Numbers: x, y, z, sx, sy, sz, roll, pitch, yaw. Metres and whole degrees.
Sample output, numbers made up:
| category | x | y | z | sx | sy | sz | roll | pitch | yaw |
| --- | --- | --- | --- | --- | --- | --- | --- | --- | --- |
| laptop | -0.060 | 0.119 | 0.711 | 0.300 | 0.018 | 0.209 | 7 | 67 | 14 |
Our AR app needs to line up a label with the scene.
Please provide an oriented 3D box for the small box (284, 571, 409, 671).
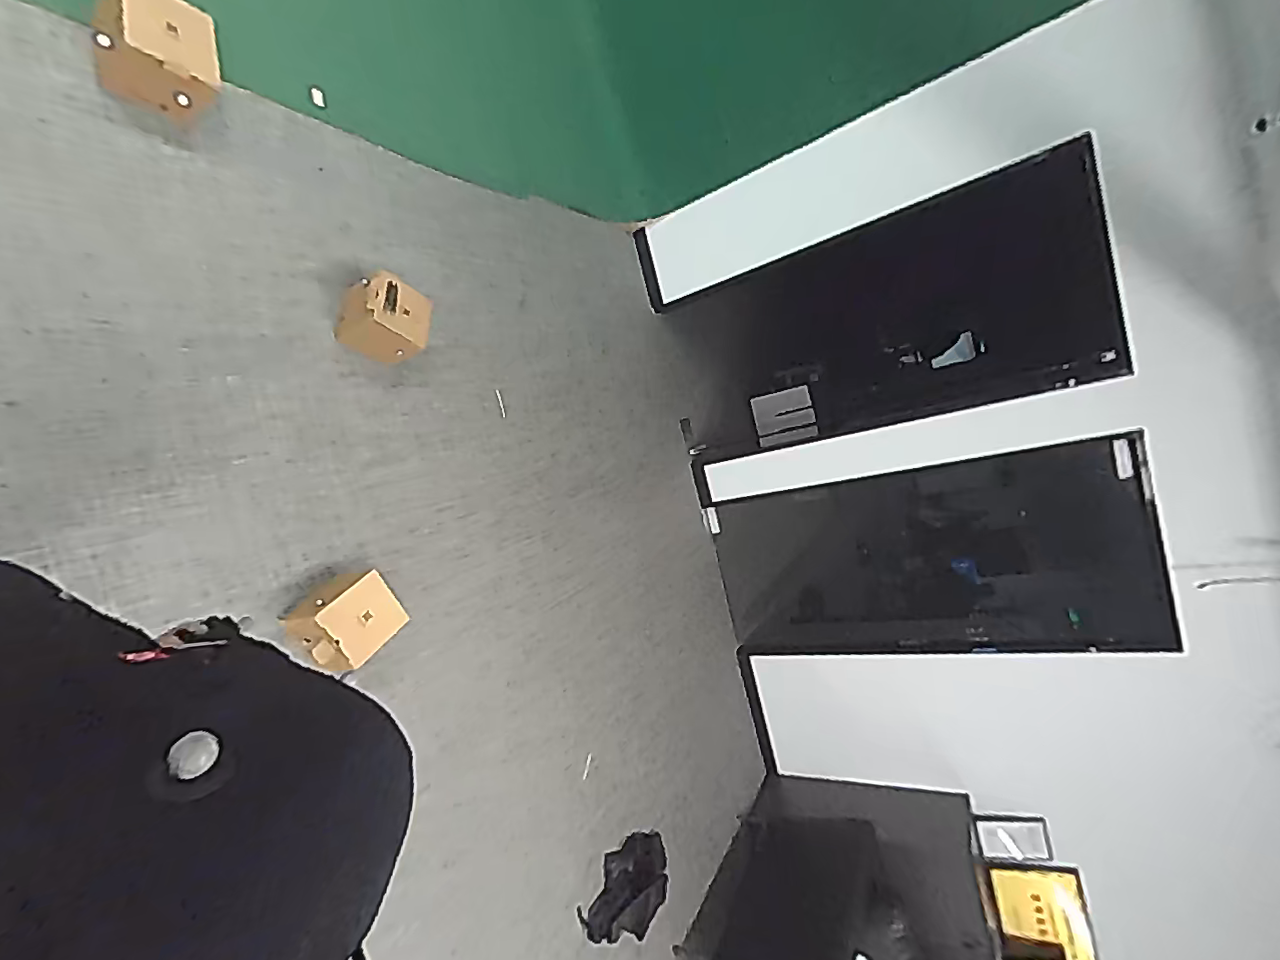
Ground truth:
| category | x | y | z | sx | sy | sz | roll | pitch | yaw |
| --- | --- | --- | --- | --- | --- | --- | --- | --- | --- |
| small box | -0.721 | 0.345 | 1.332 | 0.179 | 0.176 | 0.168 | -52 | 123 | -51 |

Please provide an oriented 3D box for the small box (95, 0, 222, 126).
| category | x | y | z | sx | sy | sz | roll | pitch | yaw |
| --- | --- | --- | --- | --- | --- | --- | --- | --- | --- |
| small box | -1.068 | -0.940 | 1.200 | 0.168 | 0.176 | 0.179 | -4 | 83 | -60 |
